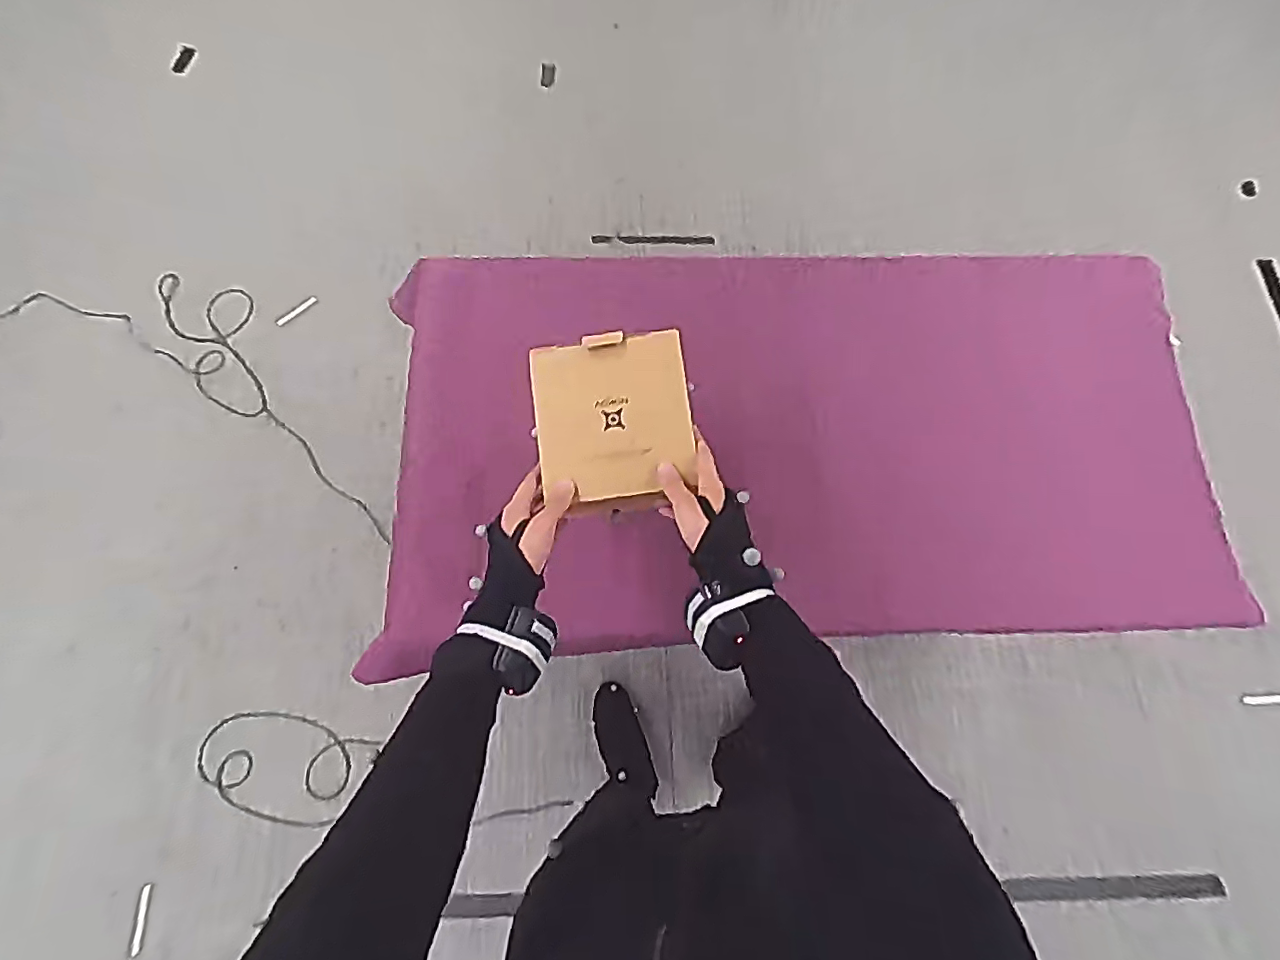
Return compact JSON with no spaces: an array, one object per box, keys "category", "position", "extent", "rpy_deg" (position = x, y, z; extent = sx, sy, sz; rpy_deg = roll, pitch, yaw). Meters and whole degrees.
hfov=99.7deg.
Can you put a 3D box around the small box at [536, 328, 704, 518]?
[{"category":"small box","position":[-0.022,-0.056,0.640],"extent":[0.168,0.176,0.179],"rpy_deg":[-7,81,1]}]
